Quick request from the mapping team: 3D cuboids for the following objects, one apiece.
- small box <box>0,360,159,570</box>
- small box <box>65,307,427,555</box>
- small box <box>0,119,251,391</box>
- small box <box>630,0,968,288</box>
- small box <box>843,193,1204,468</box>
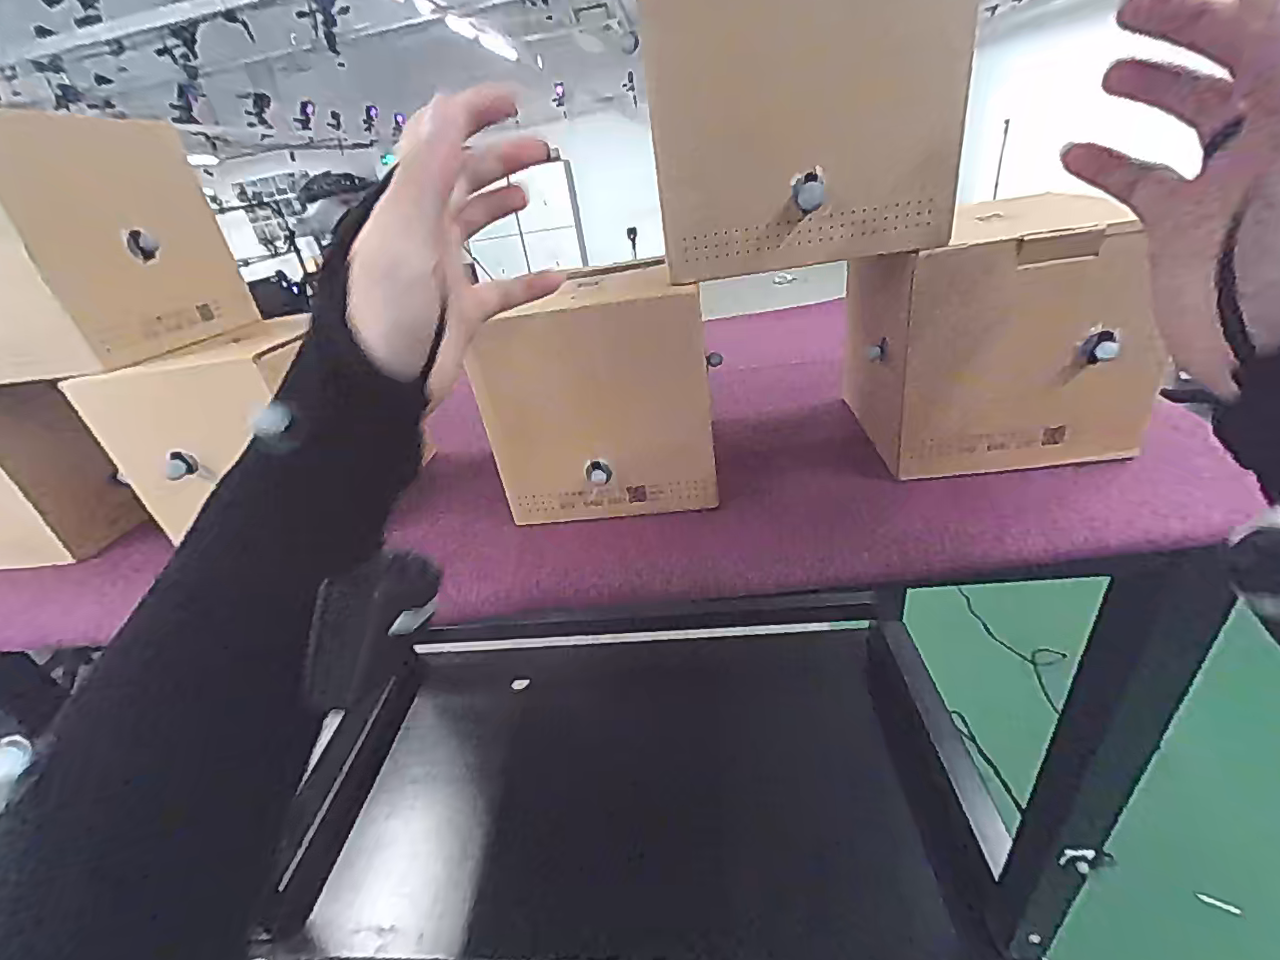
[{"bbox_3d":[-0.602,-0.022,0.537,0.179,0.176,0.168,-5,30,8],"label":"small box"},{"bbox_3d":[-0.324,-0.044,0.495,0.168,0.176,0.179,-6,29,9],"label":"small box"},{"bbox_3d":[-0.477,-0.180,0.441,0.179,0.176,0.168,-4,29,9],"label":"small box"},{"bbox_3d":[0.093,-0.240,0.369,0.179,0.176,0.168,-7,28,6],"label":"small box"},{"bbox_3d":[0.266,-0.117,0.431,0.168,0.176,0.179,-5,29,9],"label":"small box"}]
